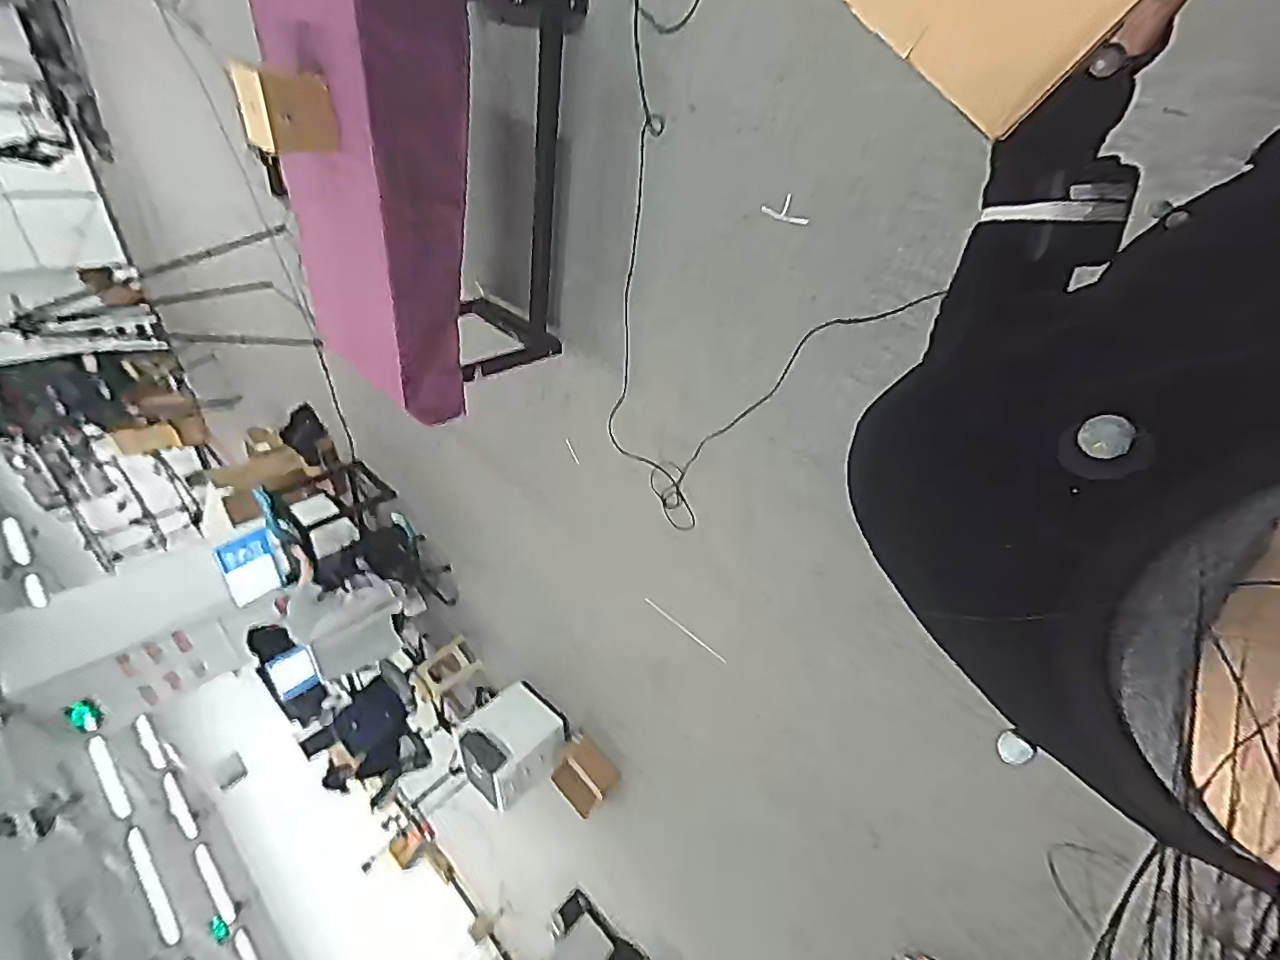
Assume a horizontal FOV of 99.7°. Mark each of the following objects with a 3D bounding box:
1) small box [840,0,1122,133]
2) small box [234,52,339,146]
[{"bbox_3d":[0.185,-0.300,0.211,0.168,0.179,0.176,44,167,1],"label":"small box"},{"bbox_3d":[-0.924,-1.000,1.428,0.168,0.176,0.179,35,133,26],"label":"small box"}]
